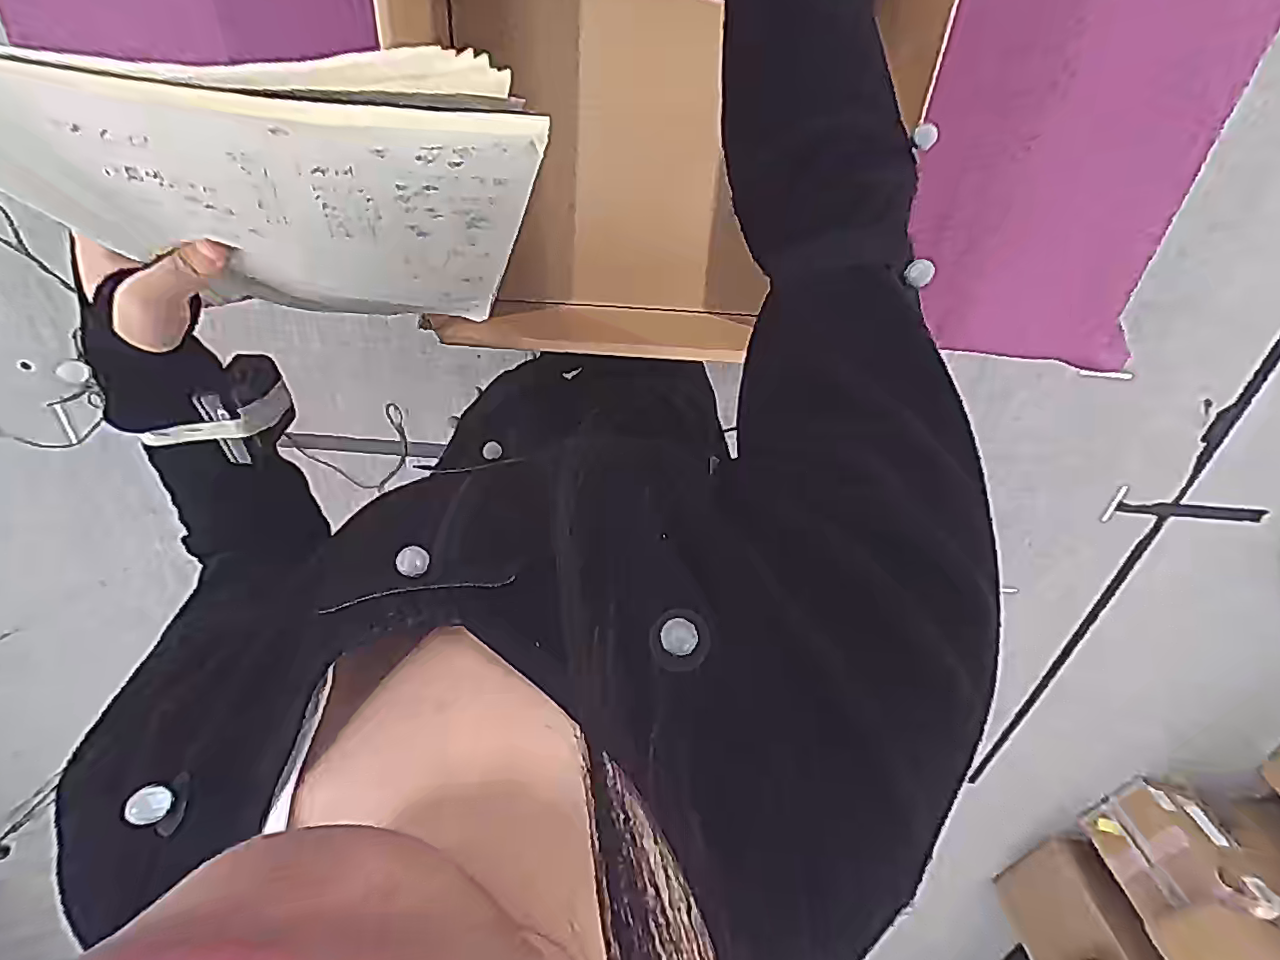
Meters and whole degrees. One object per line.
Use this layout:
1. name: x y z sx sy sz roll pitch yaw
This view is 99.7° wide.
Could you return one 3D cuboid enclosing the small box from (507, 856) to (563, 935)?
1. small box: -0.356 1.419 1.851 0.168 0.176 0.179 6 120 -5
